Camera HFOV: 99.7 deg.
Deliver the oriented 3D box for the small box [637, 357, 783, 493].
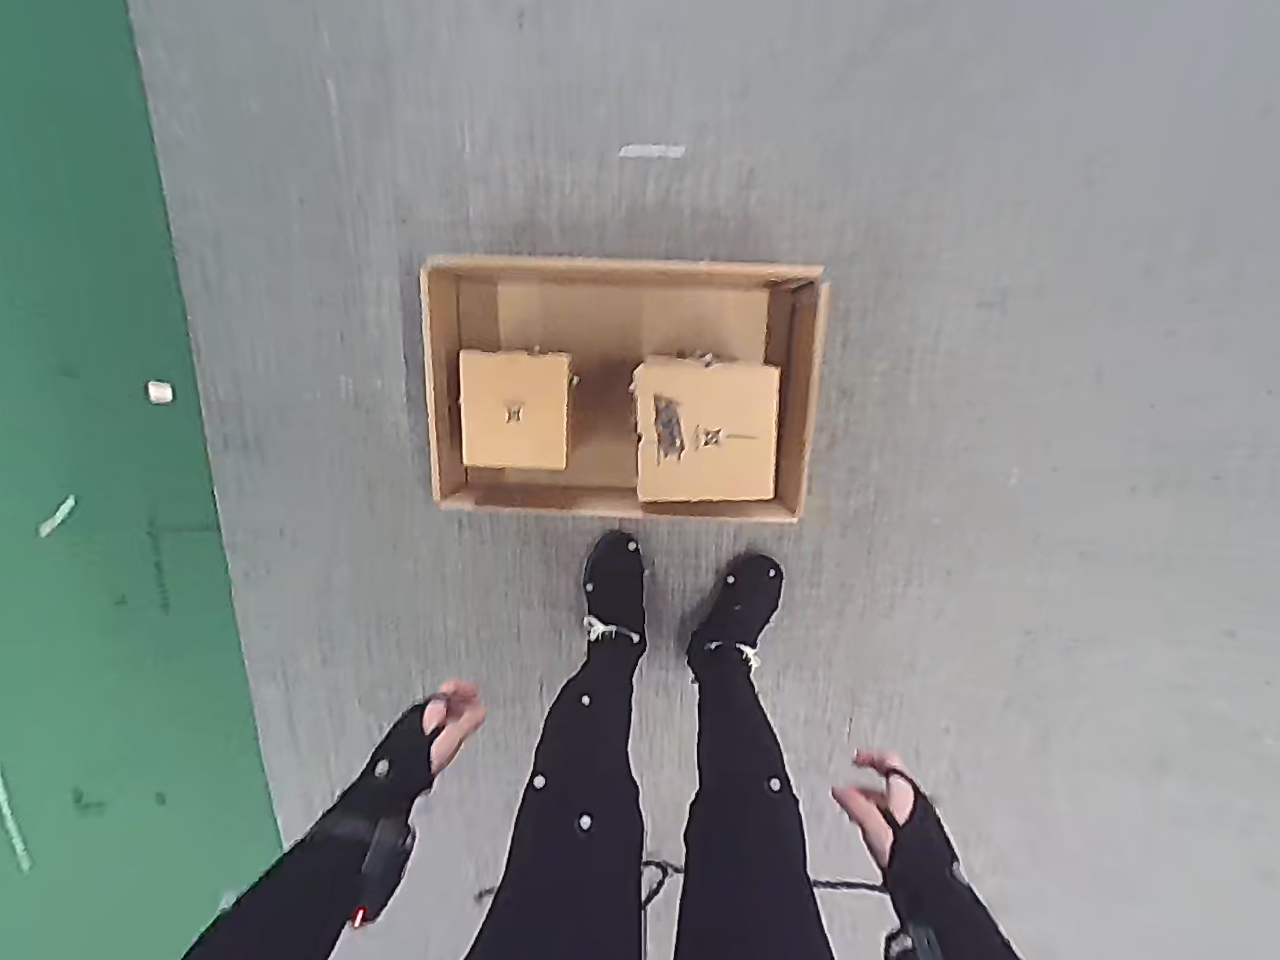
[{"bbox_3d":[0.088,-0.082,0.745,0.179,0.176,0.168,0,105,2],"label":"small box"}]
